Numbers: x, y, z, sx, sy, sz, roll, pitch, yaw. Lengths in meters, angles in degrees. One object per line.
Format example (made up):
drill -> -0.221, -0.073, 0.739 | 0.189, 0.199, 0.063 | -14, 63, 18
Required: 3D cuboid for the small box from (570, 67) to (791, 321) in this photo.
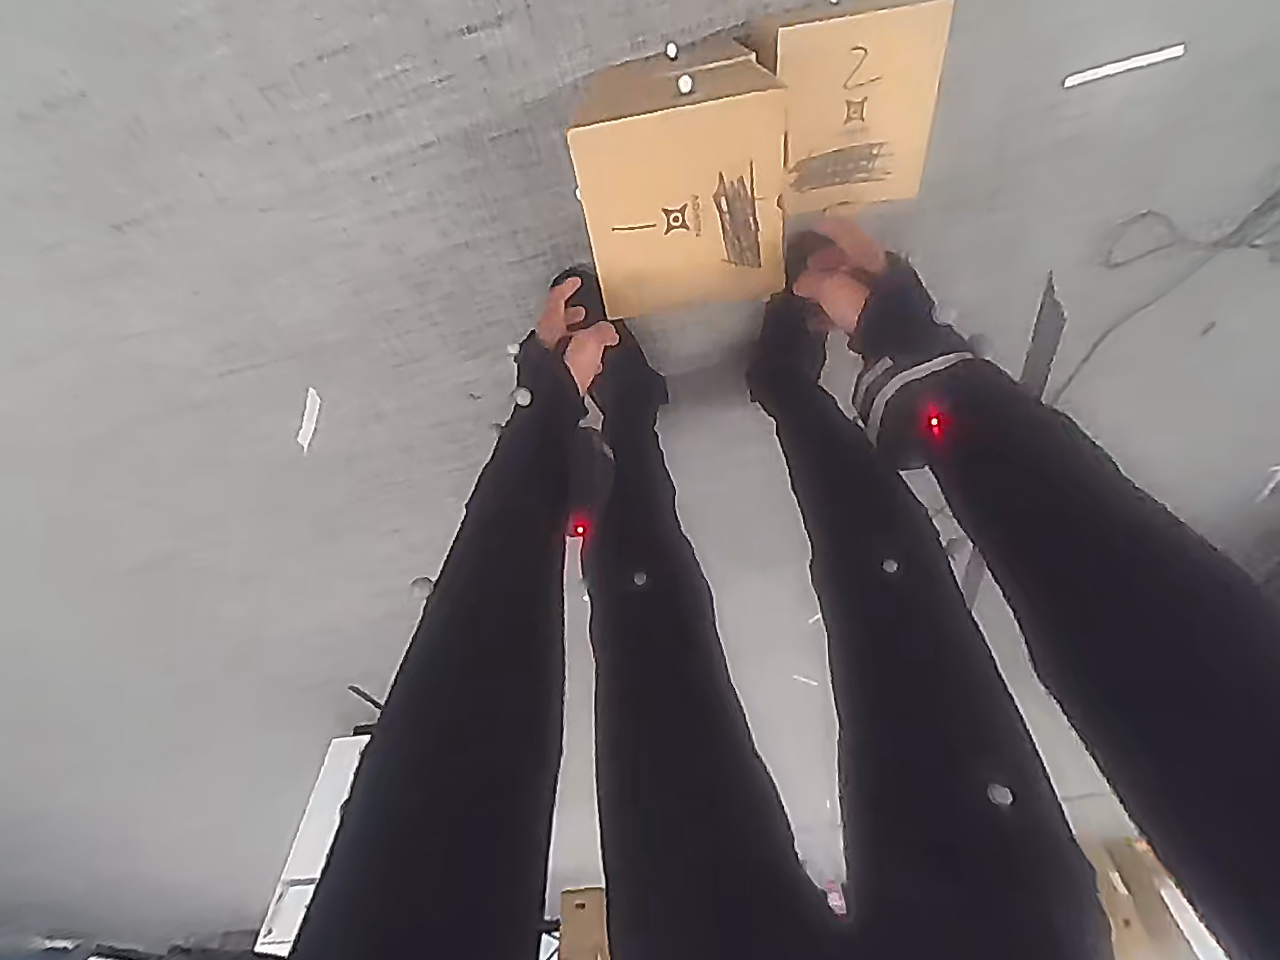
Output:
small box -> 0.039, -0.280, 0.527 | 0.179, 0.176, 0.168 | -7, 132, 6
